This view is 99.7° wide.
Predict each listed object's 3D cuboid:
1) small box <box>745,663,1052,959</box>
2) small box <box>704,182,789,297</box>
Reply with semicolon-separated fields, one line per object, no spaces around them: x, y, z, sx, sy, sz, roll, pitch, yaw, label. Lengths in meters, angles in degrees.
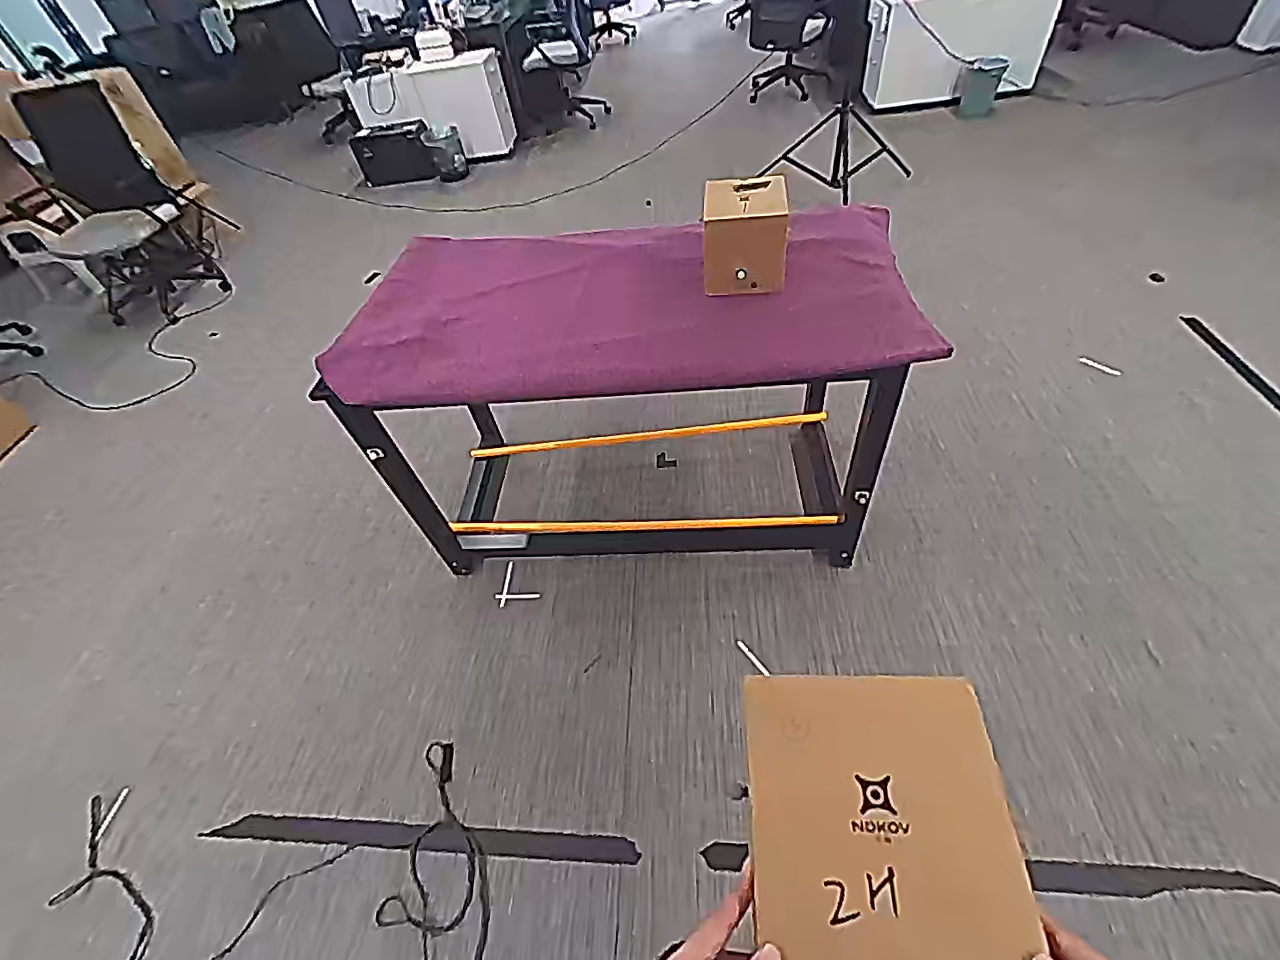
0.168;0.258;0.423;0.168;0.176;0.179;-2;54;10;small box
0.225;-0.513;1.159;0.168;0.176;0.179;0;50;10;small box
